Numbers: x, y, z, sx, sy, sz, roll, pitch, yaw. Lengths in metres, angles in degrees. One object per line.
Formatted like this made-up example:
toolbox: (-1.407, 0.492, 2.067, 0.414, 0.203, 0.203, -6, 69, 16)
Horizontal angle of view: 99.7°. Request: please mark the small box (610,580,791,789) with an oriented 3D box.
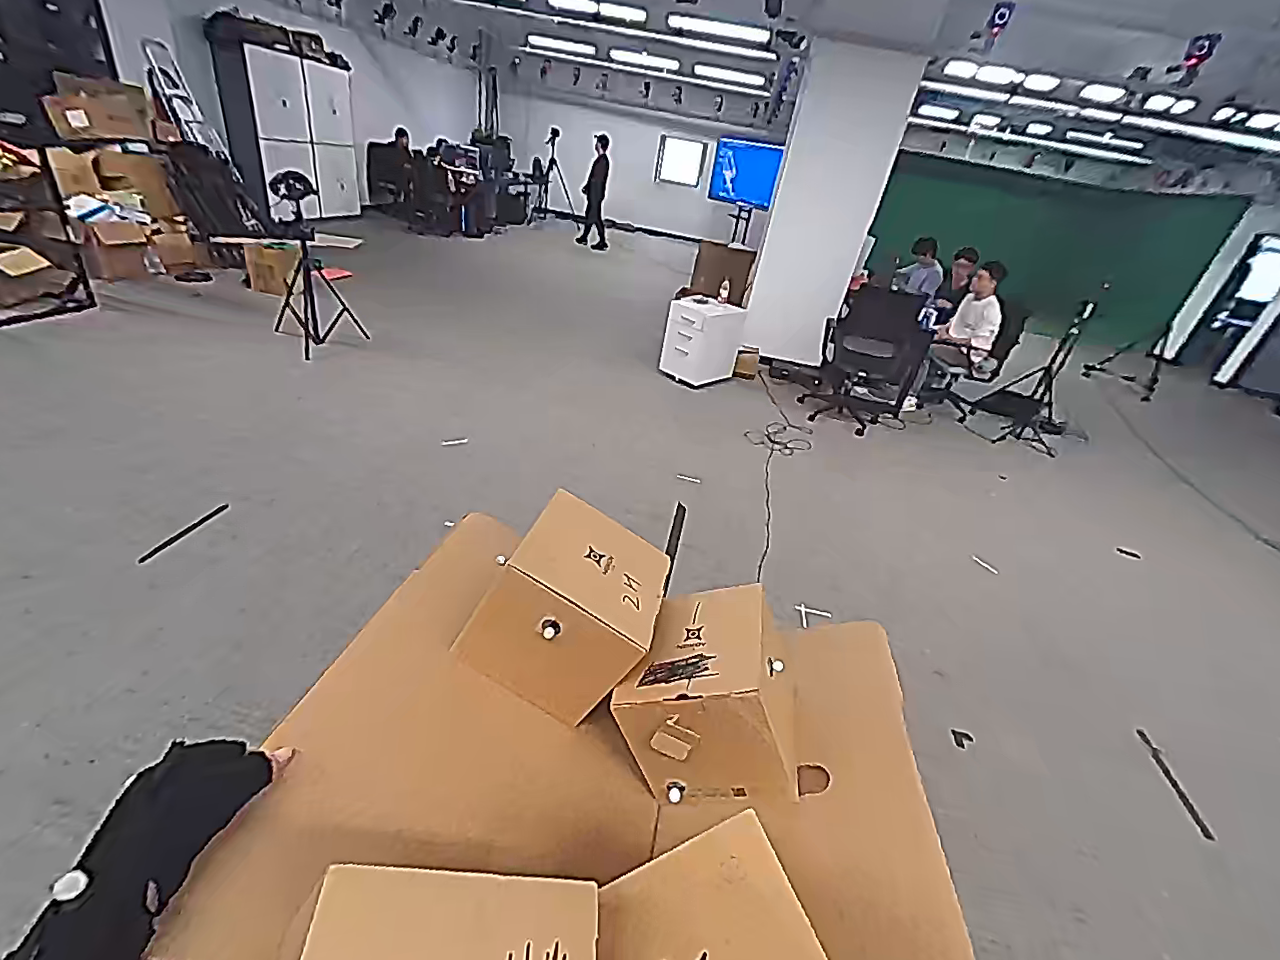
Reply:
small box: (0.085, 0.253, 0.666, 0.168, 0.176, 0.179, -13, 22, 20)
